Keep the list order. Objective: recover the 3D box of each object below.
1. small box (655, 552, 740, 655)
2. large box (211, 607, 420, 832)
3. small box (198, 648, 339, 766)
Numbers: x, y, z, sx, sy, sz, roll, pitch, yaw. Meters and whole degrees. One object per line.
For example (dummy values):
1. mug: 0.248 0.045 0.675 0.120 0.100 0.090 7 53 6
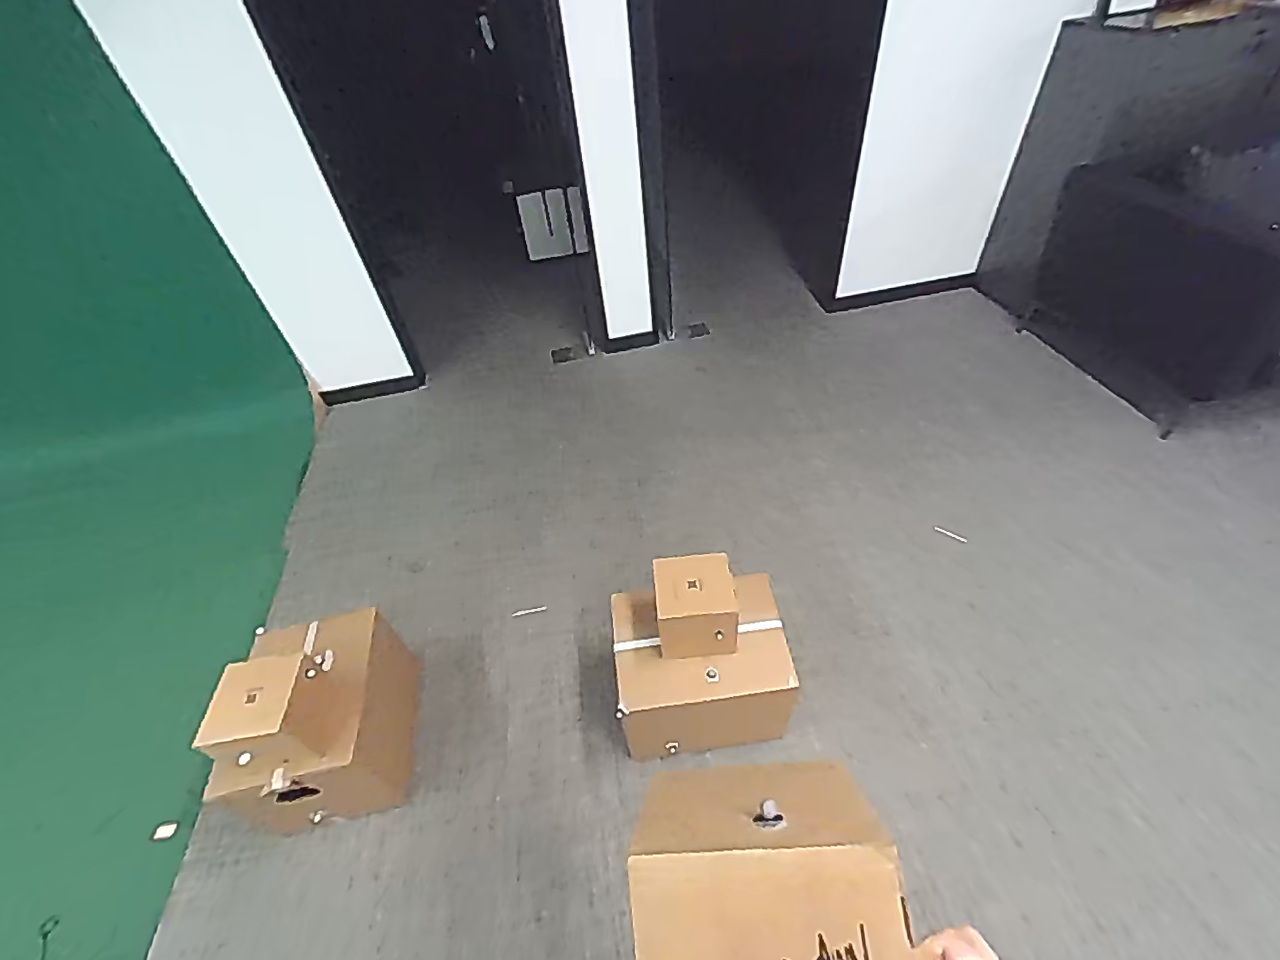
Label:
1. small box: 0.128 0.287 1.253 0.179 0.176 0.168 -6 42 2
2. large box: -0.789 0.609 1.394 0.320 0.320 0.408 -12 44 -5
3. small box: -0.780 0.493 1.161 0.168 0.176 0.179 -9 44 -3
